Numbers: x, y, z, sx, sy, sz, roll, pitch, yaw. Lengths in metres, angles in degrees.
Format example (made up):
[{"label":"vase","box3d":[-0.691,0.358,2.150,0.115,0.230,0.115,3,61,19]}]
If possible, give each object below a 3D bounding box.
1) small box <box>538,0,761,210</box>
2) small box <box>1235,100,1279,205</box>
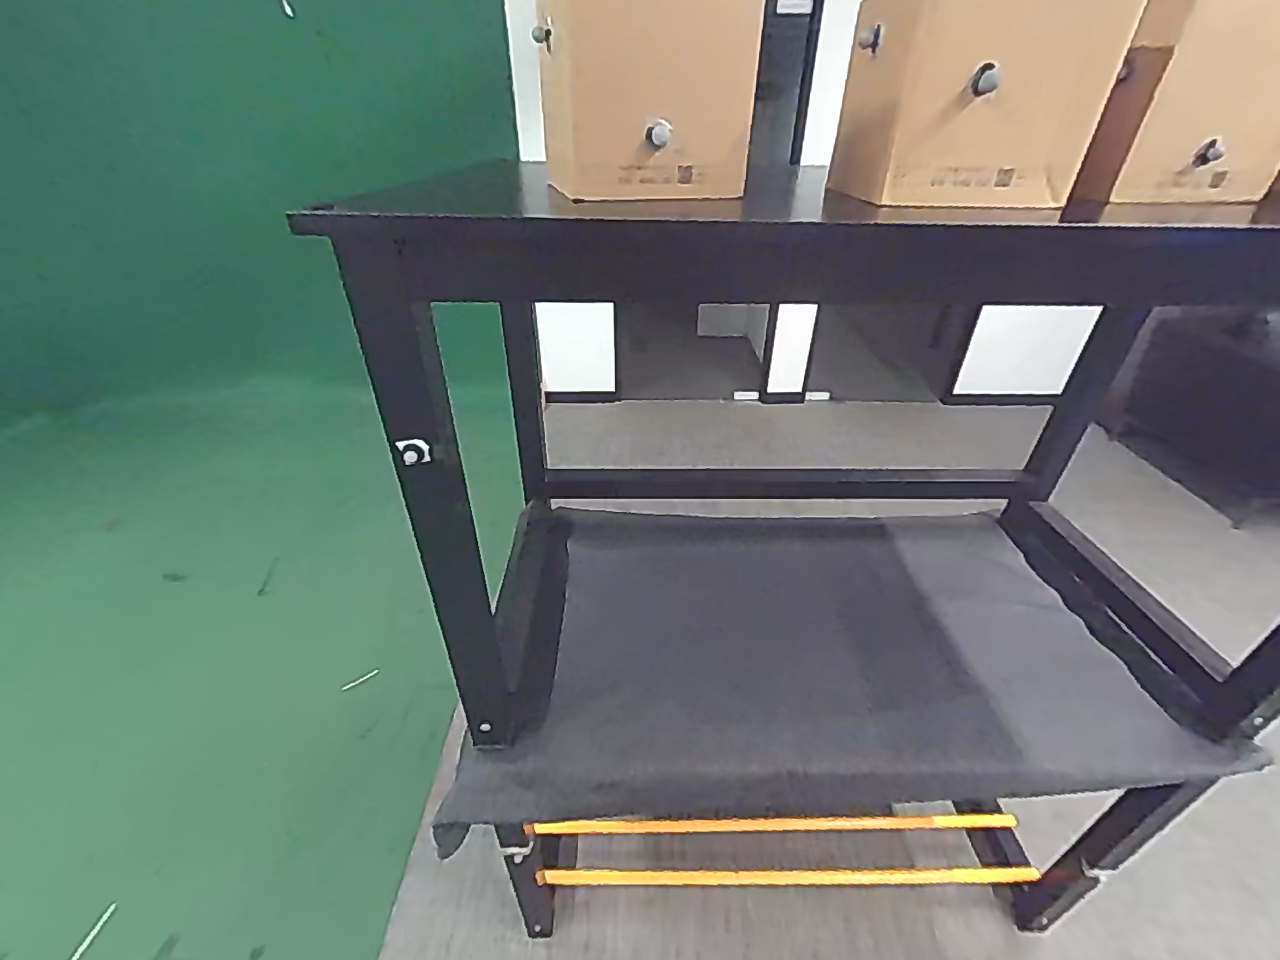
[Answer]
[{"label":"small box","box3d":[-0.004,-0.367,0.521,0.168,0.176,0.179,-8,36,-14]},{"label":"small box","box3d":[0.763,-0.354,0.517,0.168,0.176,0.179,7,34,8]}]
